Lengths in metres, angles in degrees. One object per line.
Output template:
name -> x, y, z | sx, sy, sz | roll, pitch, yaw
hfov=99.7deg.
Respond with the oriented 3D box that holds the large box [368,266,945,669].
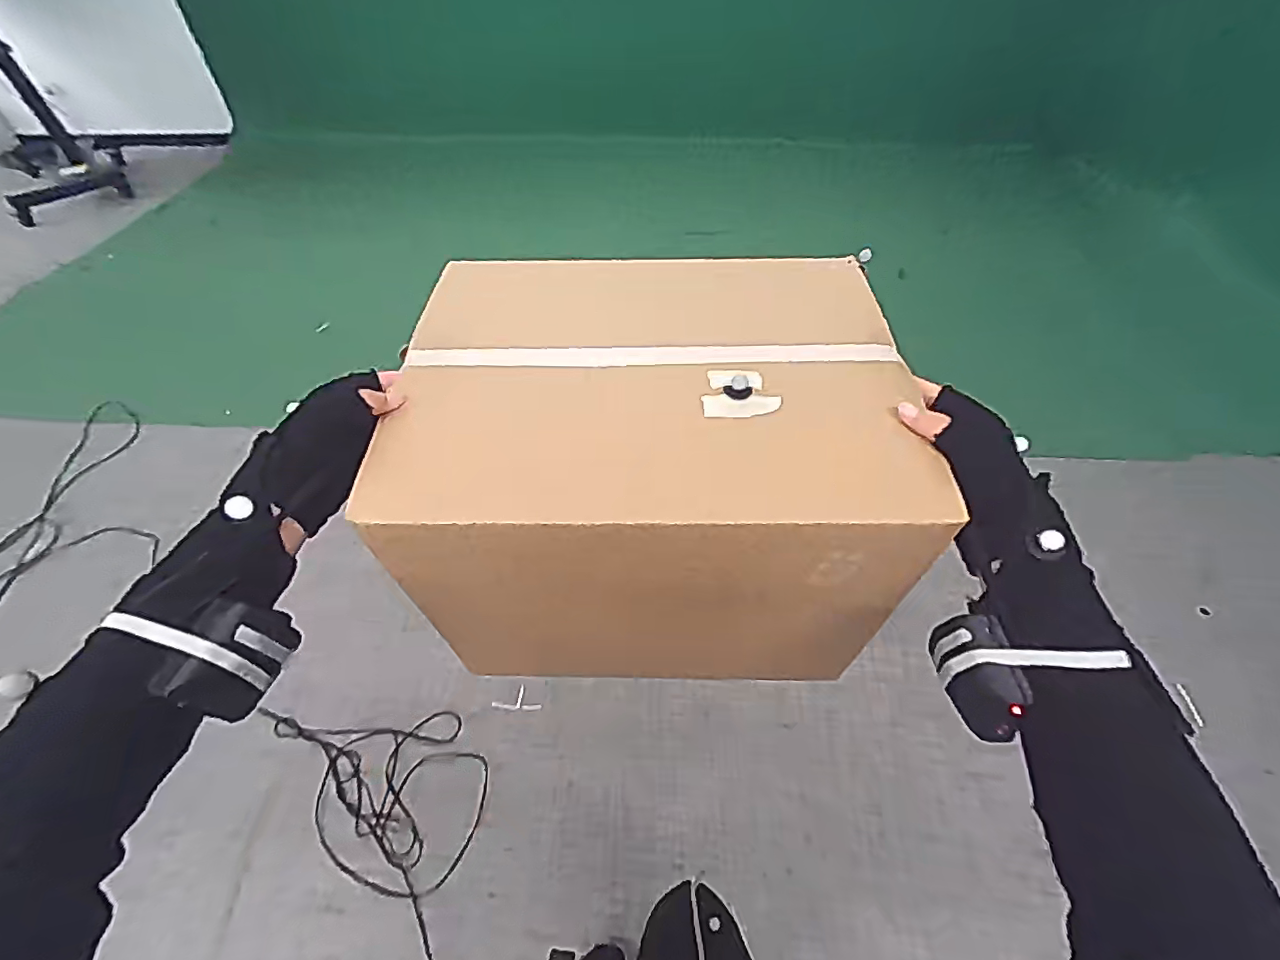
large box -> 0.011, -0.003, 0.573 | 0.408, 0.320, 0.320 | 0, 53, 1
